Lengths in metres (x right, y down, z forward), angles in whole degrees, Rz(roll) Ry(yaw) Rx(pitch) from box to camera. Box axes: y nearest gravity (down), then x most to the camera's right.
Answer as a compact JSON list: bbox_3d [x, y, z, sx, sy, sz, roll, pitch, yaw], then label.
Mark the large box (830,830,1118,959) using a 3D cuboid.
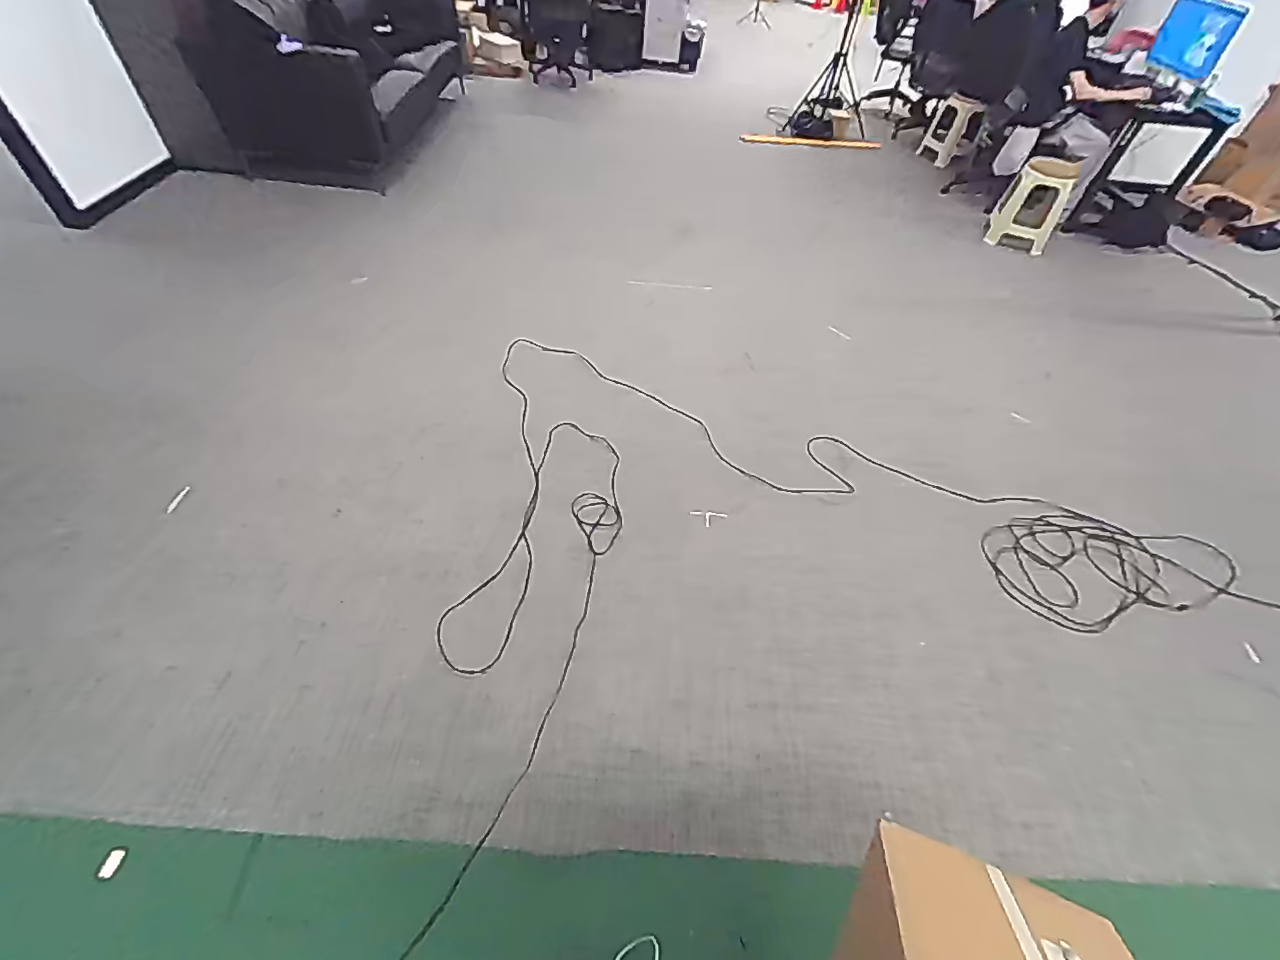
[{"bbox_3d":[0.405,0.731,0.620,0.320,0.320,0.408,19,7,16],"label":"large box"}]
